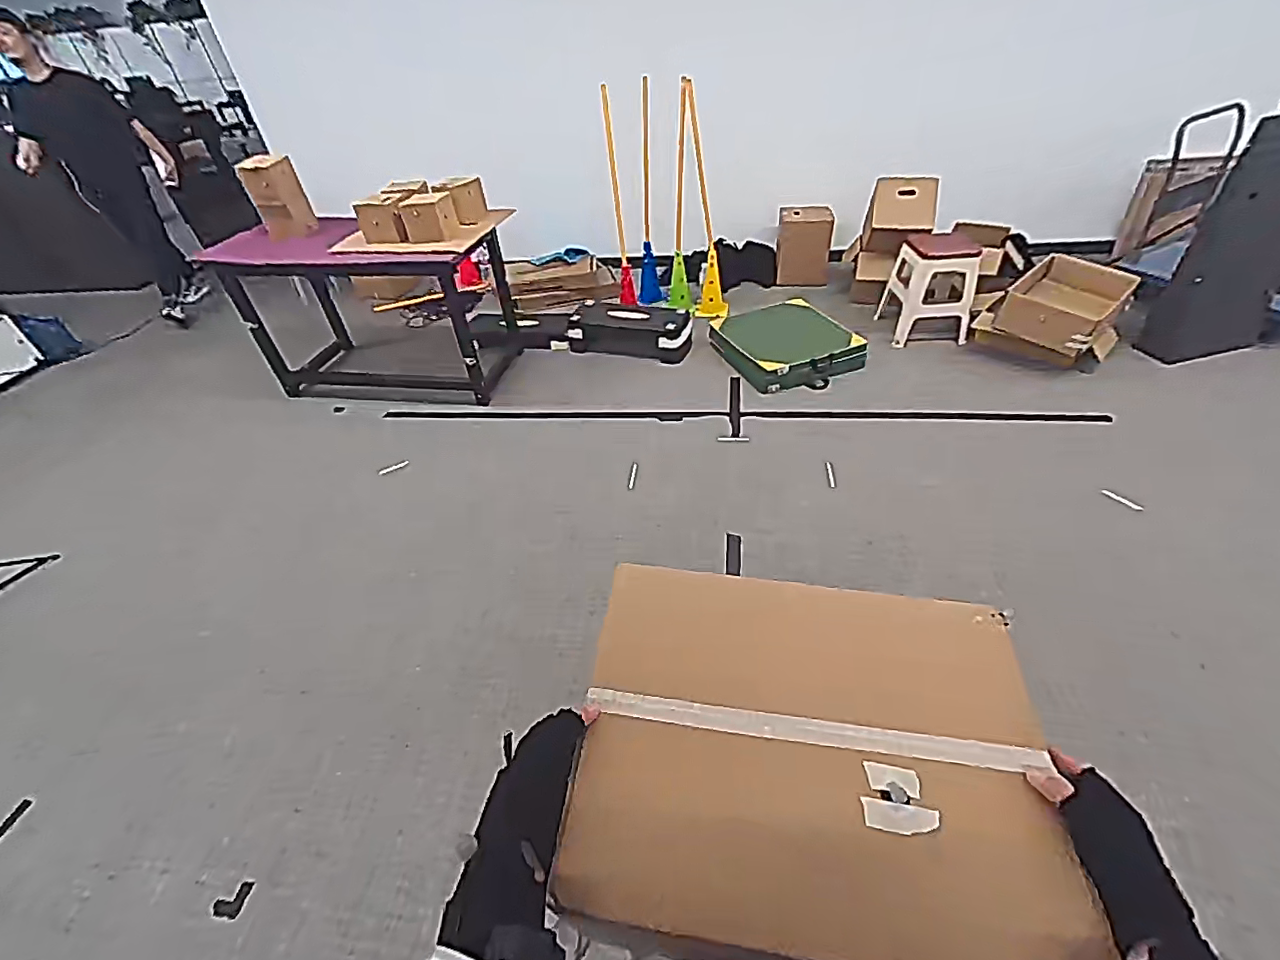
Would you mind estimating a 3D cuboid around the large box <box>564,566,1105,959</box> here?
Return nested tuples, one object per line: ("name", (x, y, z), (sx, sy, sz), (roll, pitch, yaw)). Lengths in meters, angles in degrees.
("large box", (0.157, 0.327, 0.607), (0.408, 0.320, 0.320), (6, 48, 7))
